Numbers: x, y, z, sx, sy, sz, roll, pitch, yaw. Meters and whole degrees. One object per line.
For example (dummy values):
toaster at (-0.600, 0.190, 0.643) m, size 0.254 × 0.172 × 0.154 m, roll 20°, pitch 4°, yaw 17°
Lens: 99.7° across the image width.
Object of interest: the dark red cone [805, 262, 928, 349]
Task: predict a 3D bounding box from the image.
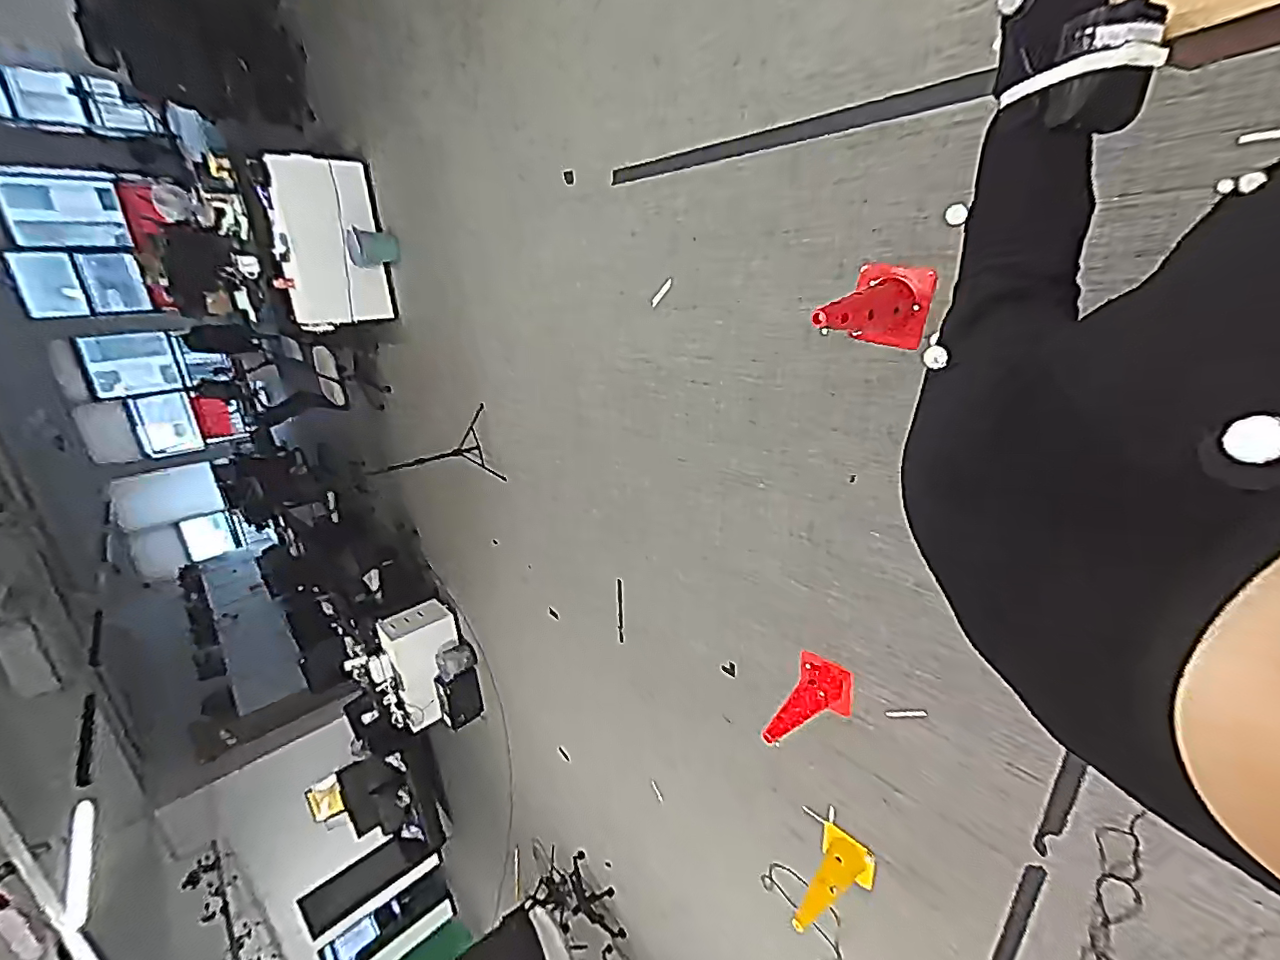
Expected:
dark red cone at (0.514, -0.410, 1.301) m, size 0.201 × 0.394 × 0.202 m, roll 26°, pitch 125°, yaw 40°

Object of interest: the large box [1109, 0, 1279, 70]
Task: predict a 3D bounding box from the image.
large box at (0.524, -0.460, 0.255) m, size 0.408 × 0.320 × 0.320 m, roll 13°, pitch 123°, yaw 48°

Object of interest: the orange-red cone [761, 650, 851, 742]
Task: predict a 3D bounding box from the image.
orange-red cone at (0.537, 0.774, 1.839) m, size 0.198 × 0.360 × 0.199 m, roll 17°, pitch 120°, yaw 46°
